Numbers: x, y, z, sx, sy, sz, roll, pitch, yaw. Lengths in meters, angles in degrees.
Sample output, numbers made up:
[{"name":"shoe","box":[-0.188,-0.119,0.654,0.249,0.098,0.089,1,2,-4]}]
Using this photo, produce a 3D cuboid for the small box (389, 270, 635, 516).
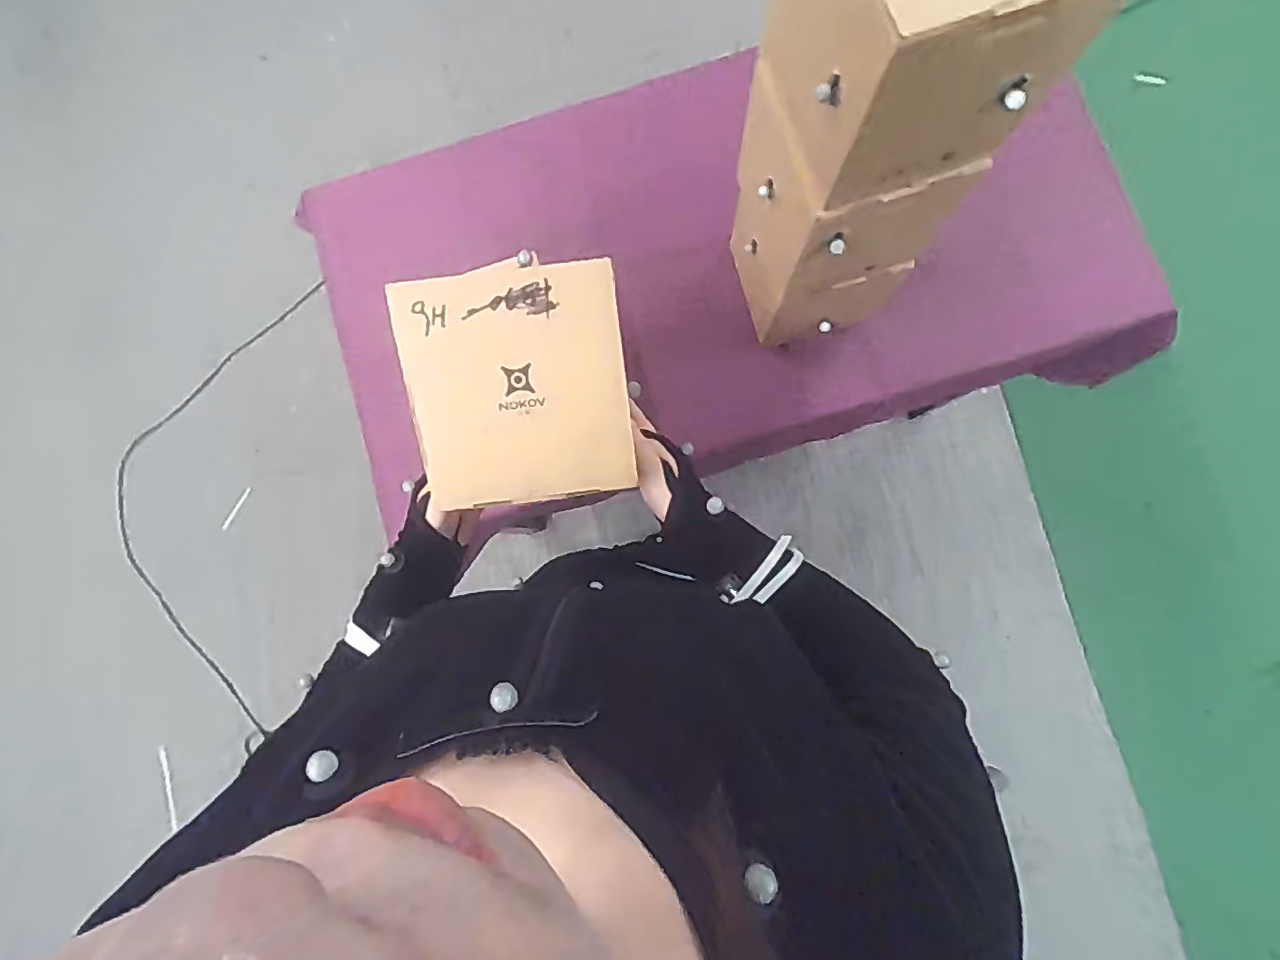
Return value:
[{"name":"small box","box":[-0.095,-0.084,0.489,0.168,0.176,0.179,-7,106,-1]}]

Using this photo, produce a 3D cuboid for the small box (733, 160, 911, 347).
[{"name":"small box","box":[0.232,-0.308,0.739,0.168,0.176,0.179,-15,83,2]}]

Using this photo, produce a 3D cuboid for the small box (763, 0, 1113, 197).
[{"name":"small box","box":[0.208,-0.352,0.415,0.168,0.176,0.179,-17,82,1]}]

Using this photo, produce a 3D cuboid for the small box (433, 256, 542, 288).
[{"name":"small box","box":[-0.179,-0.168,0.748,0.168,0.176,0.179,-18,82,1]}]
